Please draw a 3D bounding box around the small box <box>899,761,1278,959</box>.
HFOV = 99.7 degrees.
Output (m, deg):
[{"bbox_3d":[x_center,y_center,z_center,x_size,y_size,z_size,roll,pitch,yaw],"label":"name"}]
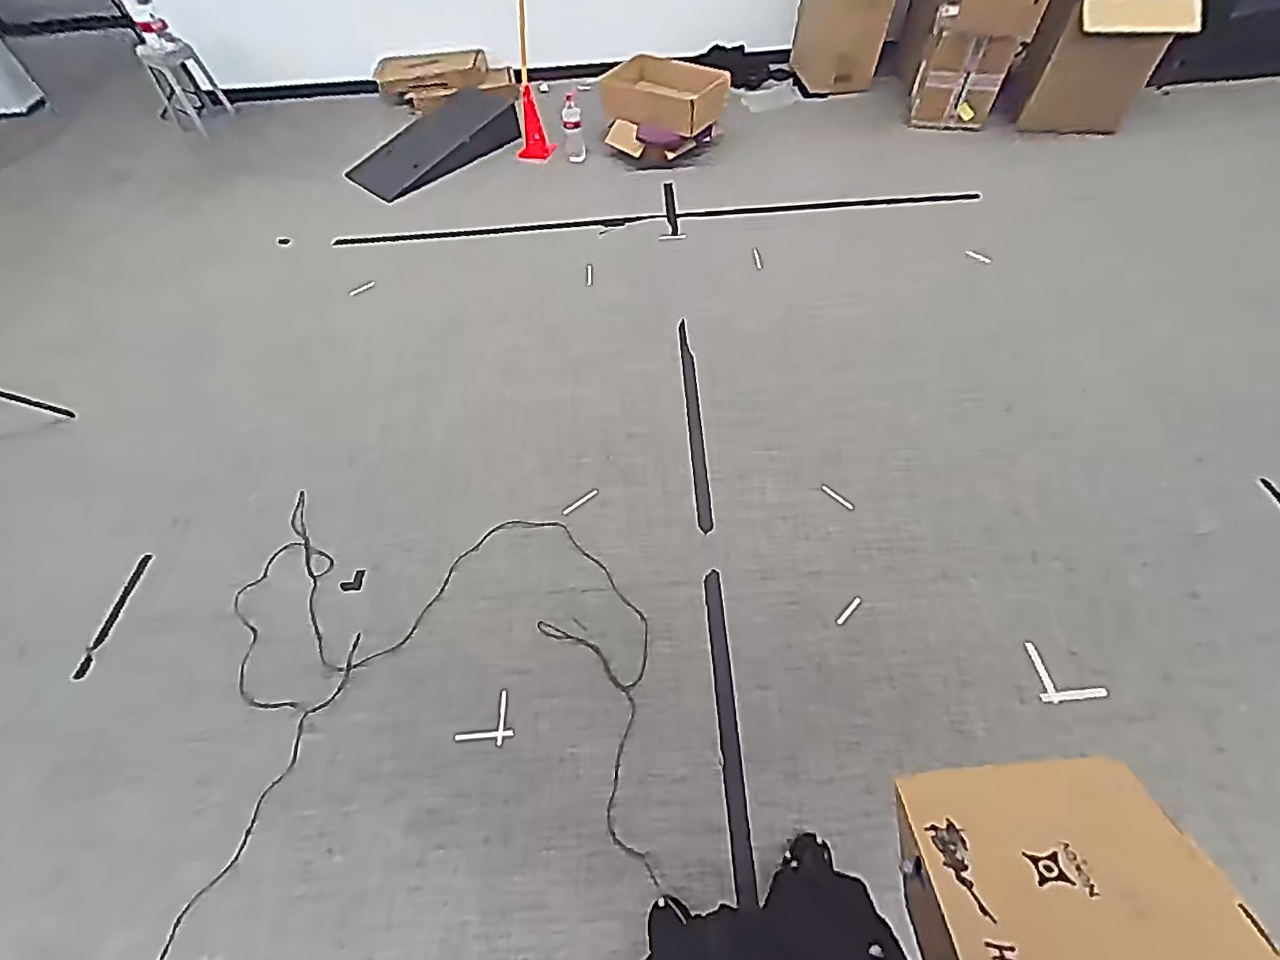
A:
[{"bbox_3d":[0.315,0.347,0.411,0.179,0.176,0.168,-10,20,11],"label":"small box"}]
